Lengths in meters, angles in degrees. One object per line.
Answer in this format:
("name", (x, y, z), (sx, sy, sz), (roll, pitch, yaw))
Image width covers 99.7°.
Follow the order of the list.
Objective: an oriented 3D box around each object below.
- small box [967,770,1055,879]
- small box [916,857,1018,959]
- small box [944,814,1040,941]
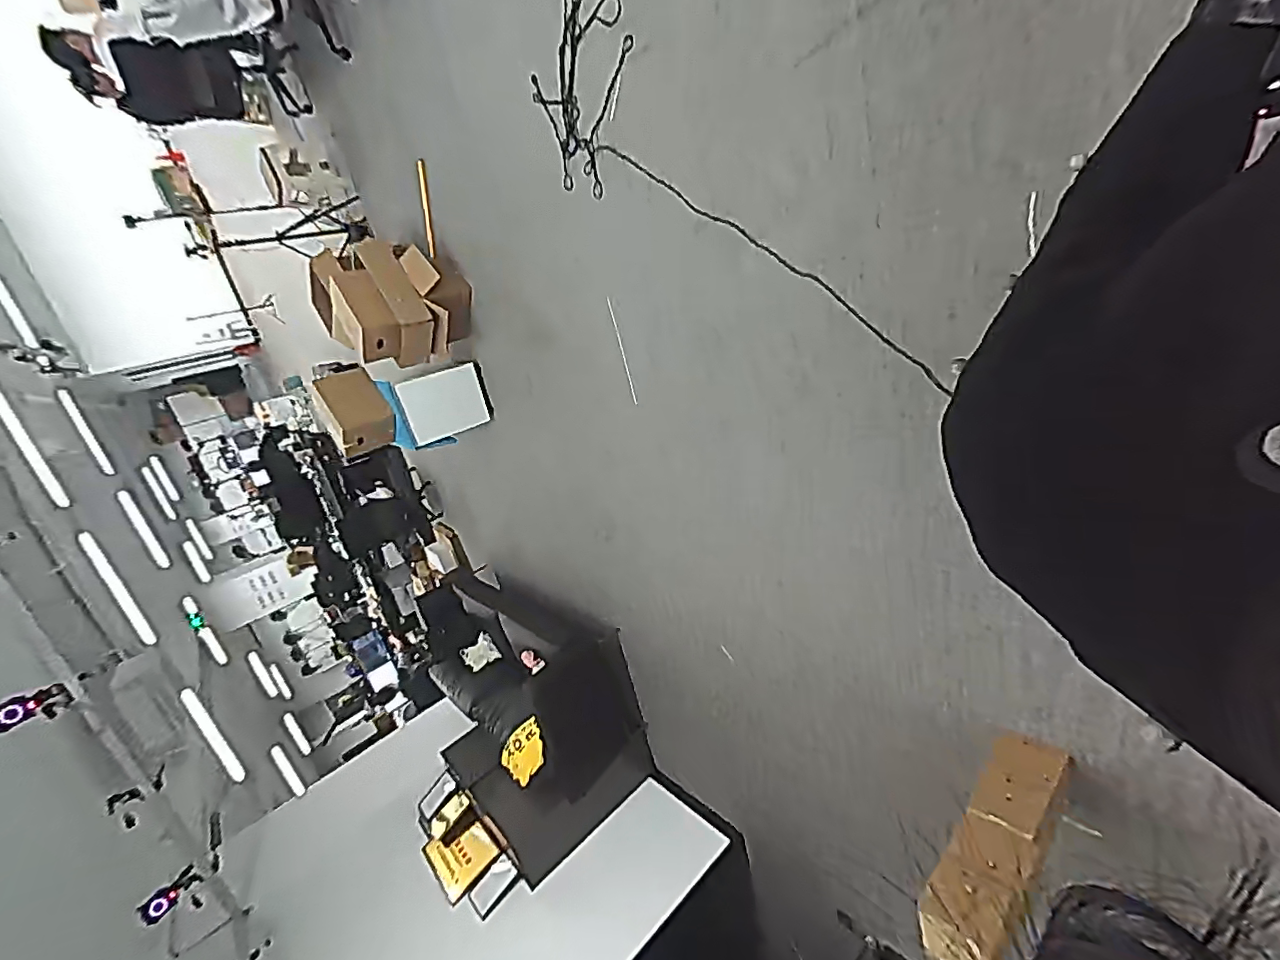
("small box", (1.051, 0.969, 1.530), (0.168, 0.176, 0.179), (6, 117, 51))
("small box", (0.815, 1.103, 1.343), (0.168, 0.176, 0.179), (5, 117, 51))
("small box", (0.937, 1.040, 1.433), (0.179, 0.176, 0.168), (7, 119, 51))
